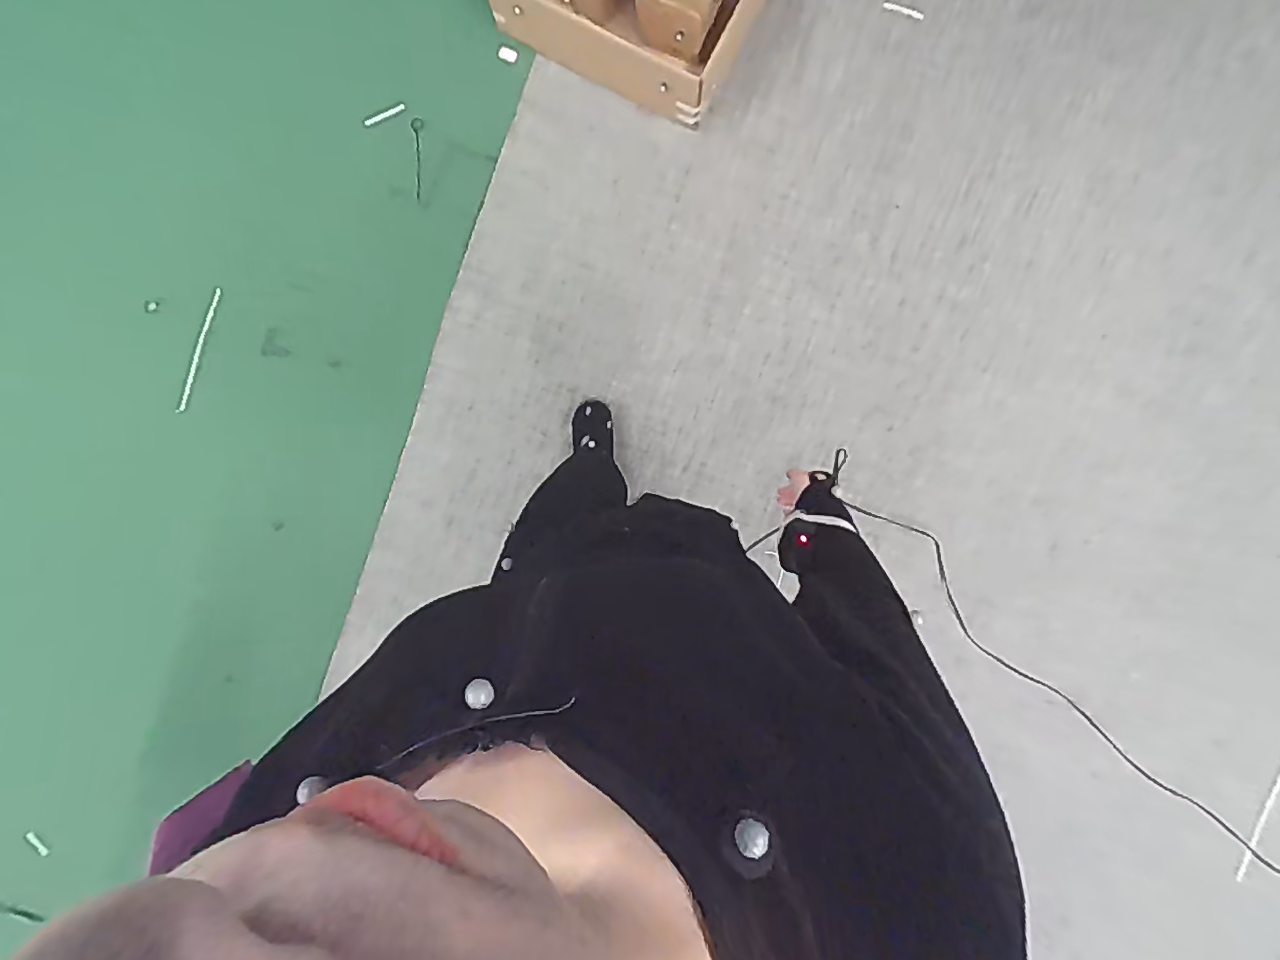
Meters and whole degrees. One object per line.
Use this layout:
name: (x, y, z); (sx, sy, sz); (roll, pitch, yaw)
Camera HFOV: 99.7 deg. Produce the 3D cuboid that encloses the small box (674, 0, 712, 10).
small box: (0.106, -1.153, 1.137); (0.179, 0.176, 0.168); (27, 95, 3)
